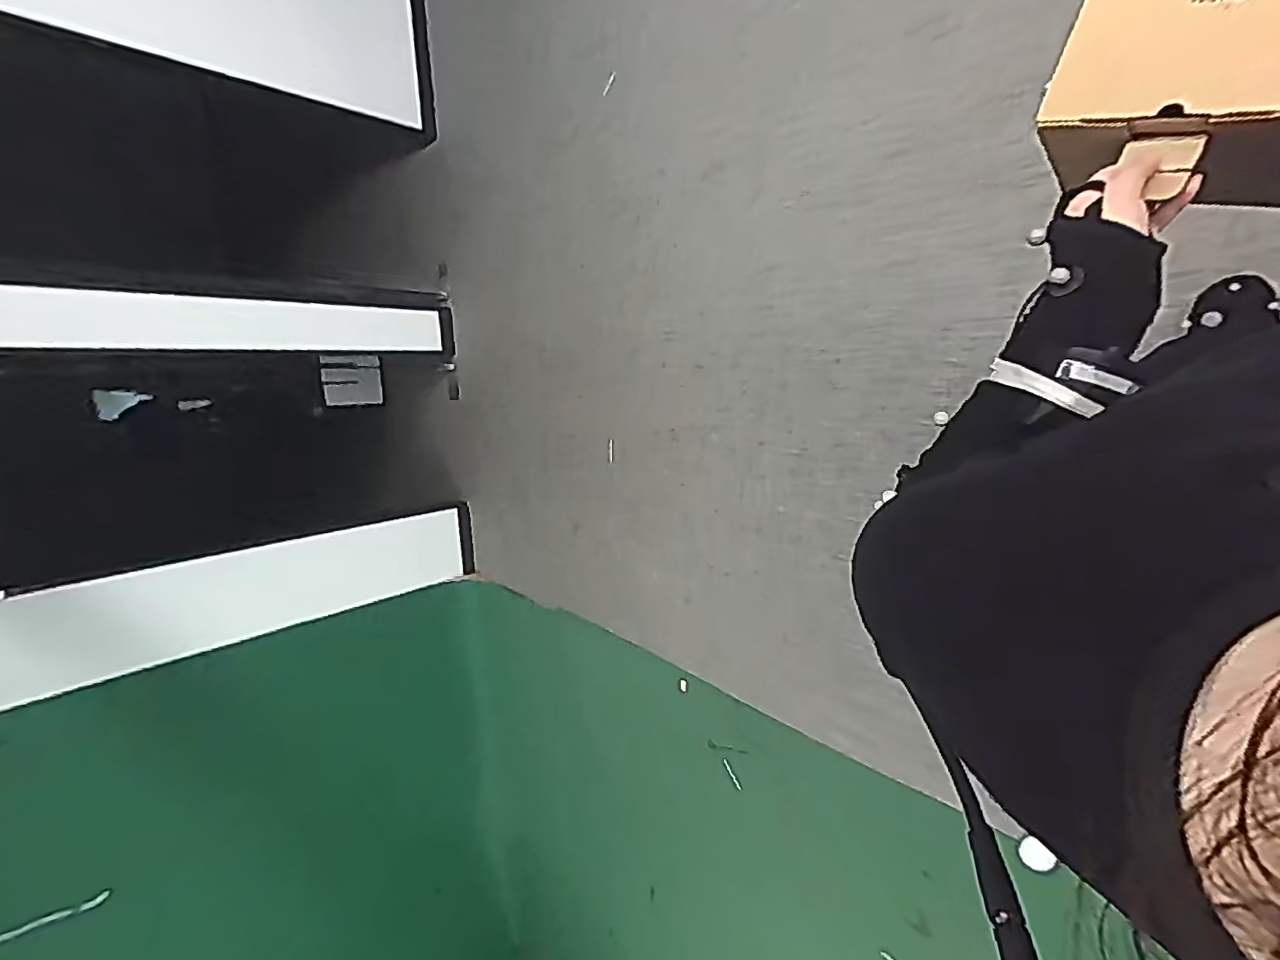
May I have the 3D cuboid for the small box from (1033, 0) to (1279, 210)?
[{"bbox_3d":[0.440,-0.330,0.410,0.168,0.176,0.179,30,112,40],"label":"small box"}]
